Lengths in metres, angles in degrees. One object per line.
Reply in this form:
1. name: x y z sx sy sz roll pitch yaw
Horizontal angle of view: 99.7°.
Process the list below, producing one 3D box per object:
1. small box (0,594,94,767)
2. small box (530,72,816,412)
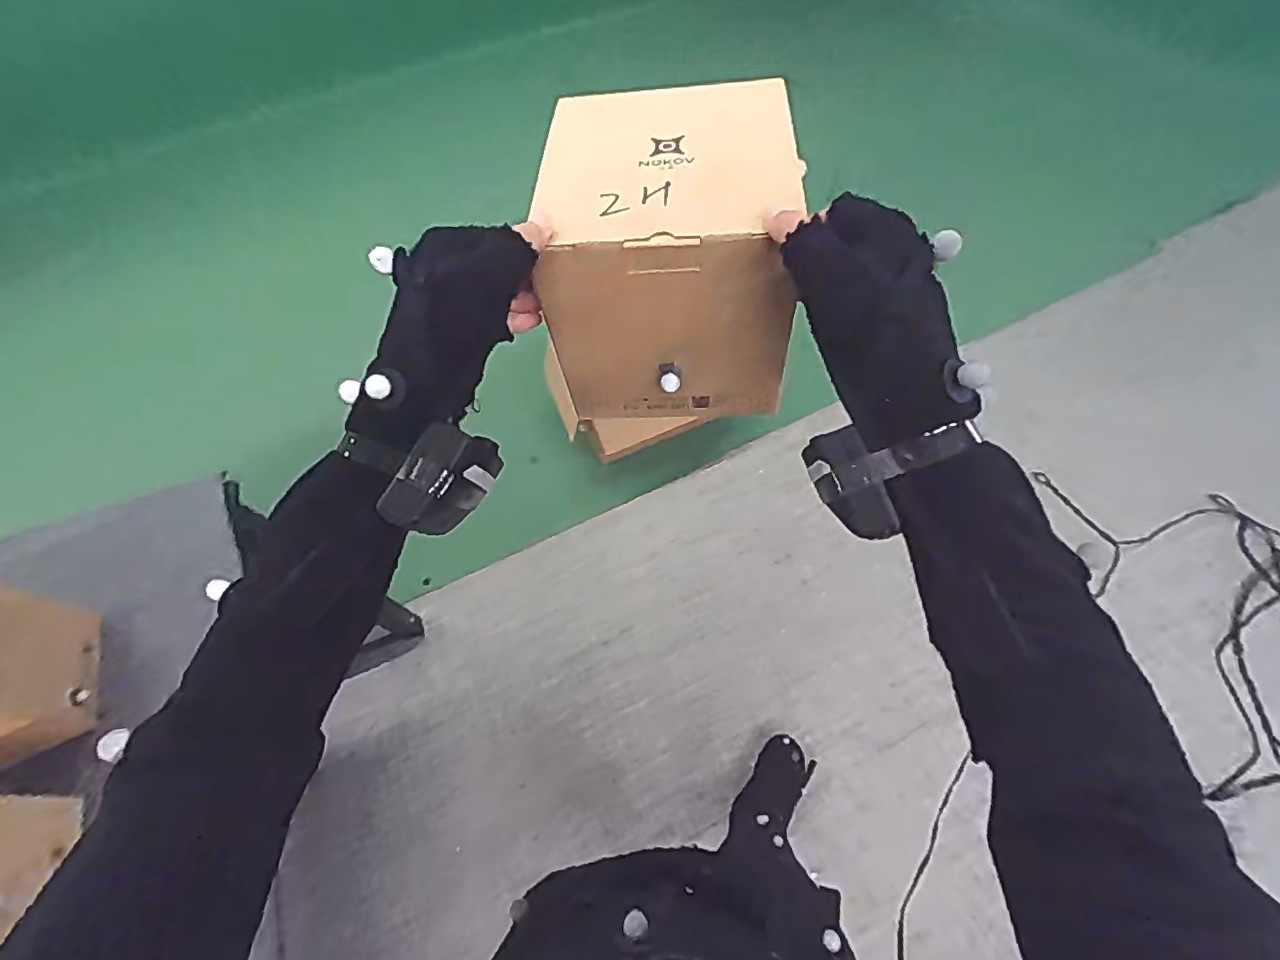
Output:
1. small box: -0.813 0.246 0.642 0.179 0.176 0.168 -26 61 -8
2. small box: 0.030 -0.172 0.415 0.168 0.176 0.179 0 60 7
